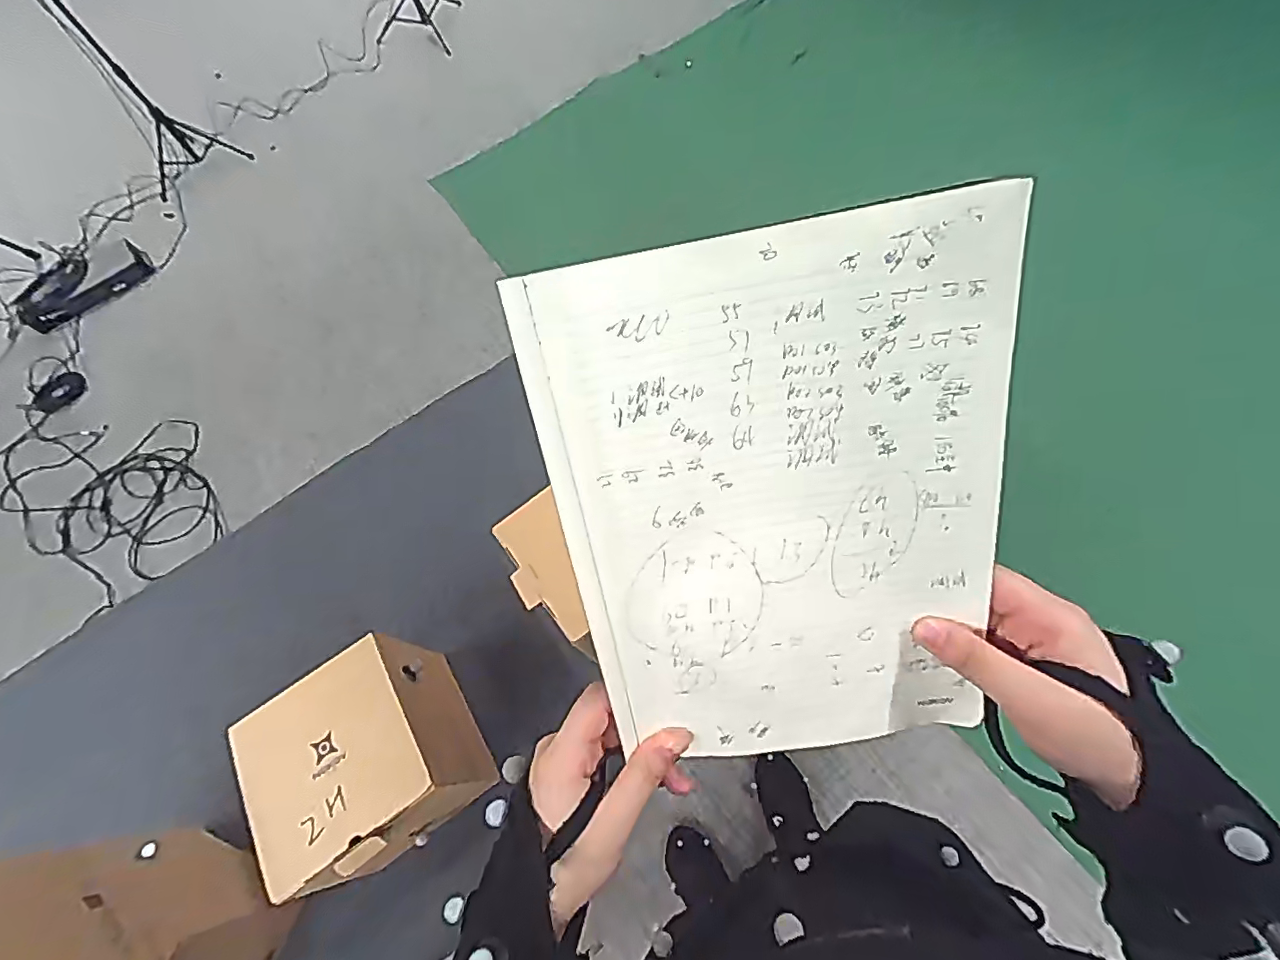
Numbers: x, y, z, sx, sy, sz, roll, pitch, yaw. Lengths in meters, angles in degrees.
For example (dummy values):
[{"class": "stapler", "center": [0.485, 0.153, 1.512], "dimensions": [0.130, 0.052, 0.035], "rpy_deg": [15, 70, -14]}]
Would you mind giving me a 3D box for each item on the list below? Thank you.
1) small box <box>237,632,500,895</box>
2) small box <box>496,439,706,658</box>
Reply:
[{"class": "small box", "center": [-0.286, 0.300, 0.596], "dimensions": [0.168, 0.176, 0.179], "rpy_deg": [-35, 64, -8]}, {"class": "small box", "center": [-0.036, 0.090, 0.657], "dimensions": [0.179, 0.176, 0.168], "rpy_deg": [-39, 64, -9]}]
